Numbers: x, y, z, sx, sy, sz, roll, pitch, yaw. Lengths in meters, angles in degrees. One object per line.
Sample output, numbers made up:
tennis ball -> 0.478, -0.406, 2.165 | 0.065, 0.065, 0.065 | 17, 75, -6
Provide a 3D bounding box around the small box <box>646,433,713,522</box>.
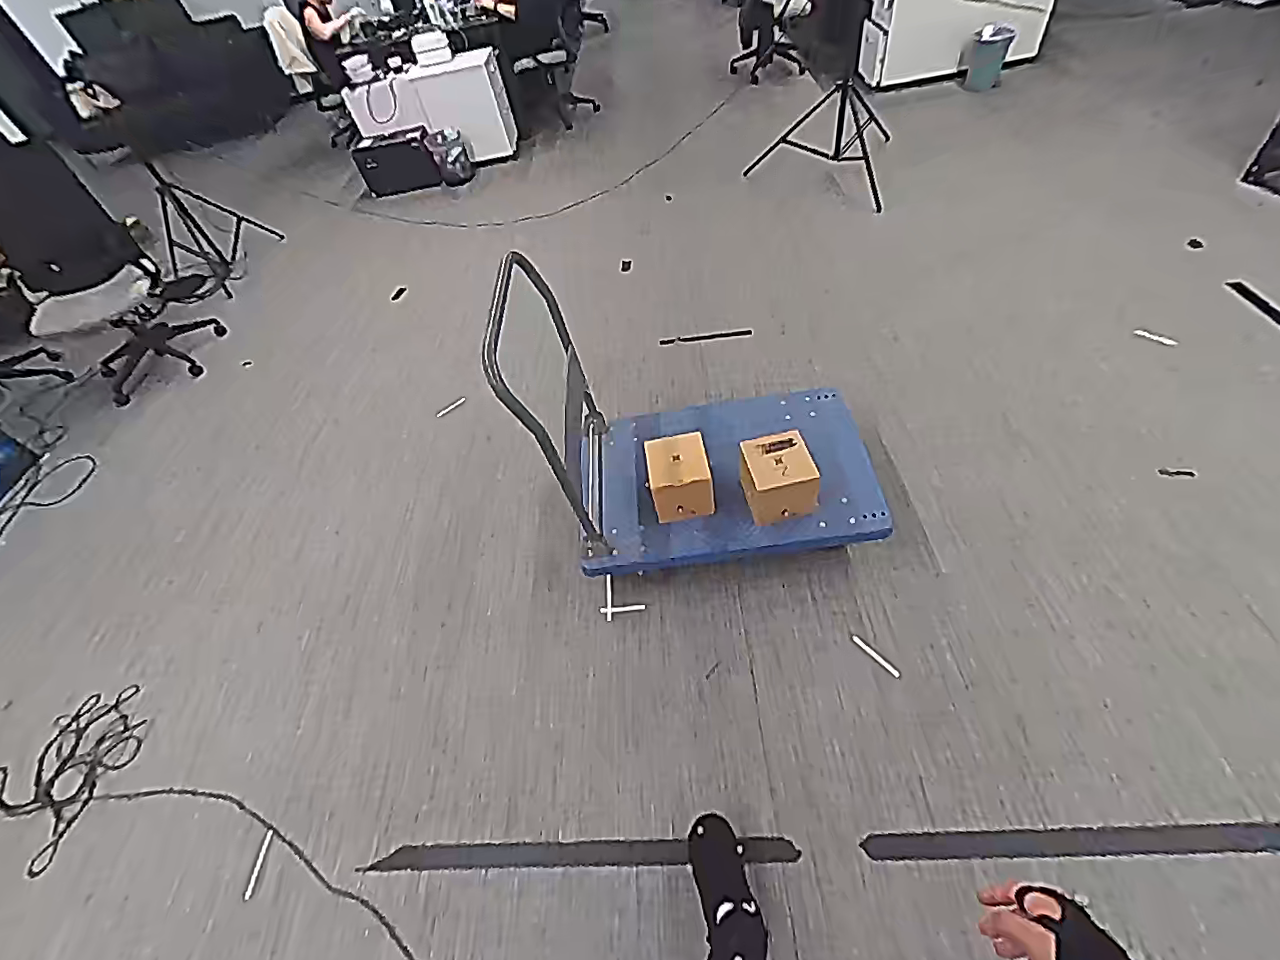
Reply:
small box -> 0.114, -0.005, 1.546 | 0.168, 0.176, 0.179 | -10, 51, 3
